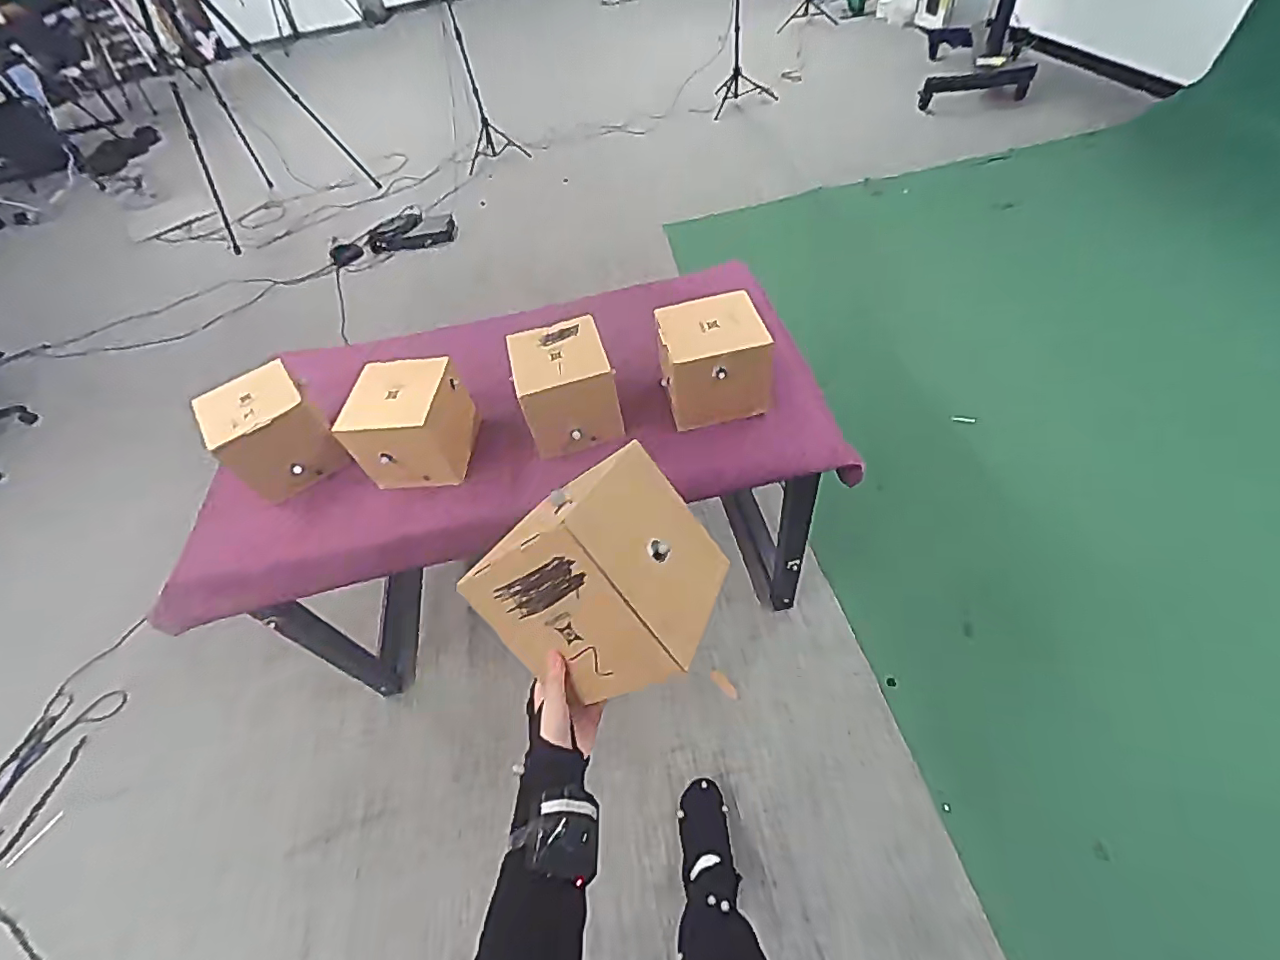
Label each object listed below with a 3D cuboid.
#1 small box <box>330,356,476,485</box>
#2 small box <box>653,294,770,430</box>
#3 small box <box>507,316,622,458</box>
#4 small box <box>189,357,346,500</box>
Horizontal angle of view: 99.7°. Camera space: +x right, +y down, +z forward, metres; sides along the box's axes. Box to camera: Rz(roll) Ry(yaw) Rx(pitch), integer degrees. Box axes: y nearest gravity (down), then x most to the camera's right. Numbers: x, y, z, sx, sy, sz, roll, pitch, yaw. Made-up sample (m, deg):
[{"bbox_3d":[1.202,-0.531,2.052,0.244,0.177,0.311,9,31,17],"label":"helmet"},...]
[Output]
[{"bbox_3d":[-0.421,-0.103,0.997,0.168,0.176,0.179,-3,51,7],"label":"small box"},{"bbox_3d":[0.130,-0.213,1.000,0.179,0.176,0.168,-11,50,0],"label":"small box"},{"bbox_3d":[-0.139,-0.171,1.008,0.168,0.176,0.179,-16,52,-4],"label":"small box"},{"bbox_3d":[-0.698,-0.095,1.025,0.168,0.176,0.179,-34,56,-18],"label":"small box"}]
